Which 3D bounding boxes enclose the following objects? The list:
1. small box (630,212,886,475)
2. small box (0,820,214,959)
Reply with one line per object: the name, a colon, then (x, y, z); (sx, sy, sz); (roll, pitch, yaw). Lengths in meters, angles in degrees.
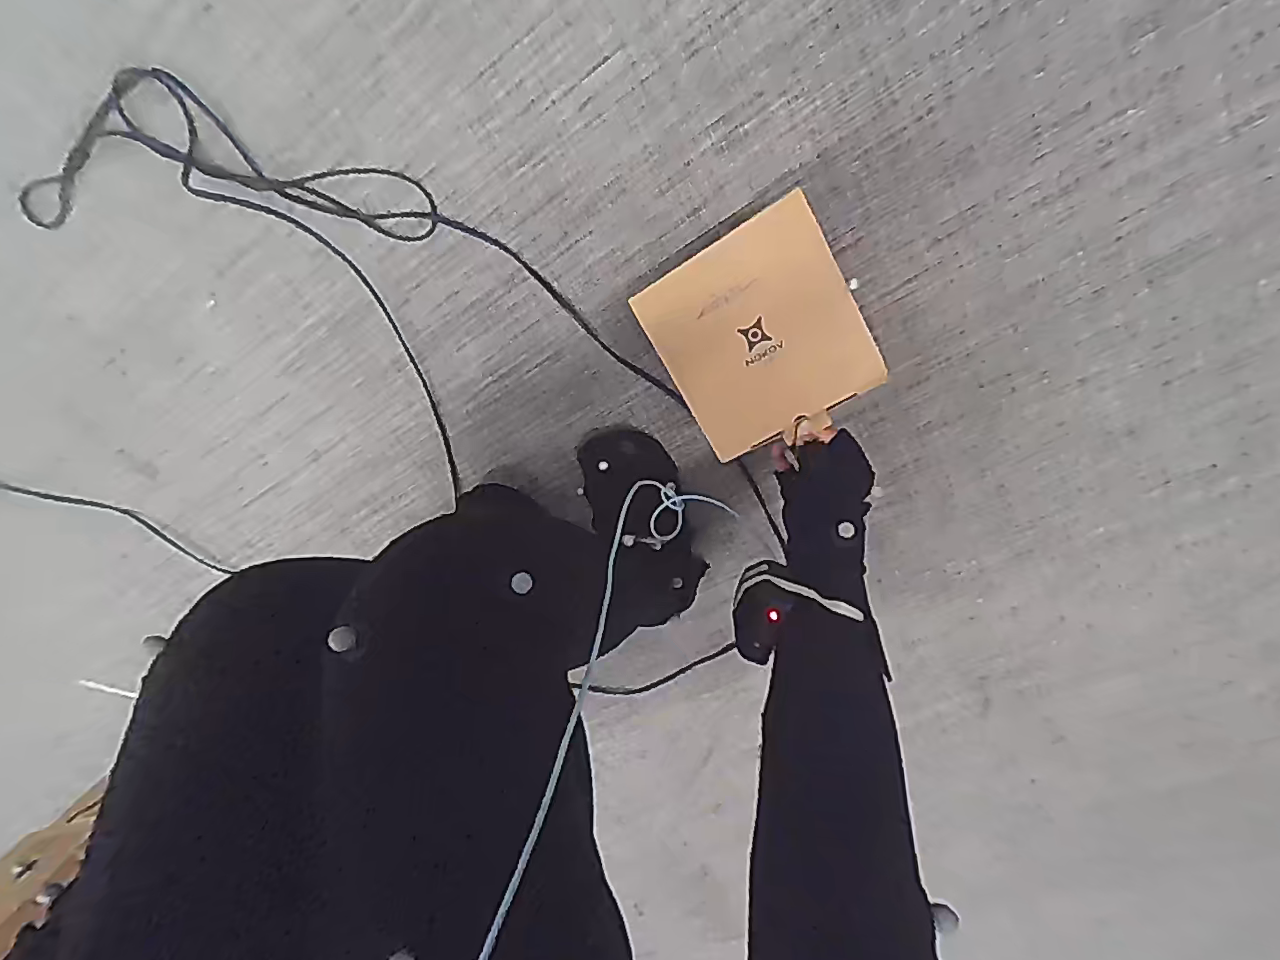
small box: (0.116, -0.137, 0.540); (0.168, 0.176, 0.179); (-27, 103, 20)
small box: (-0.626, 0.507, 0.581); (0.168, 0.176, 0.179); (-20, 110, 16)
